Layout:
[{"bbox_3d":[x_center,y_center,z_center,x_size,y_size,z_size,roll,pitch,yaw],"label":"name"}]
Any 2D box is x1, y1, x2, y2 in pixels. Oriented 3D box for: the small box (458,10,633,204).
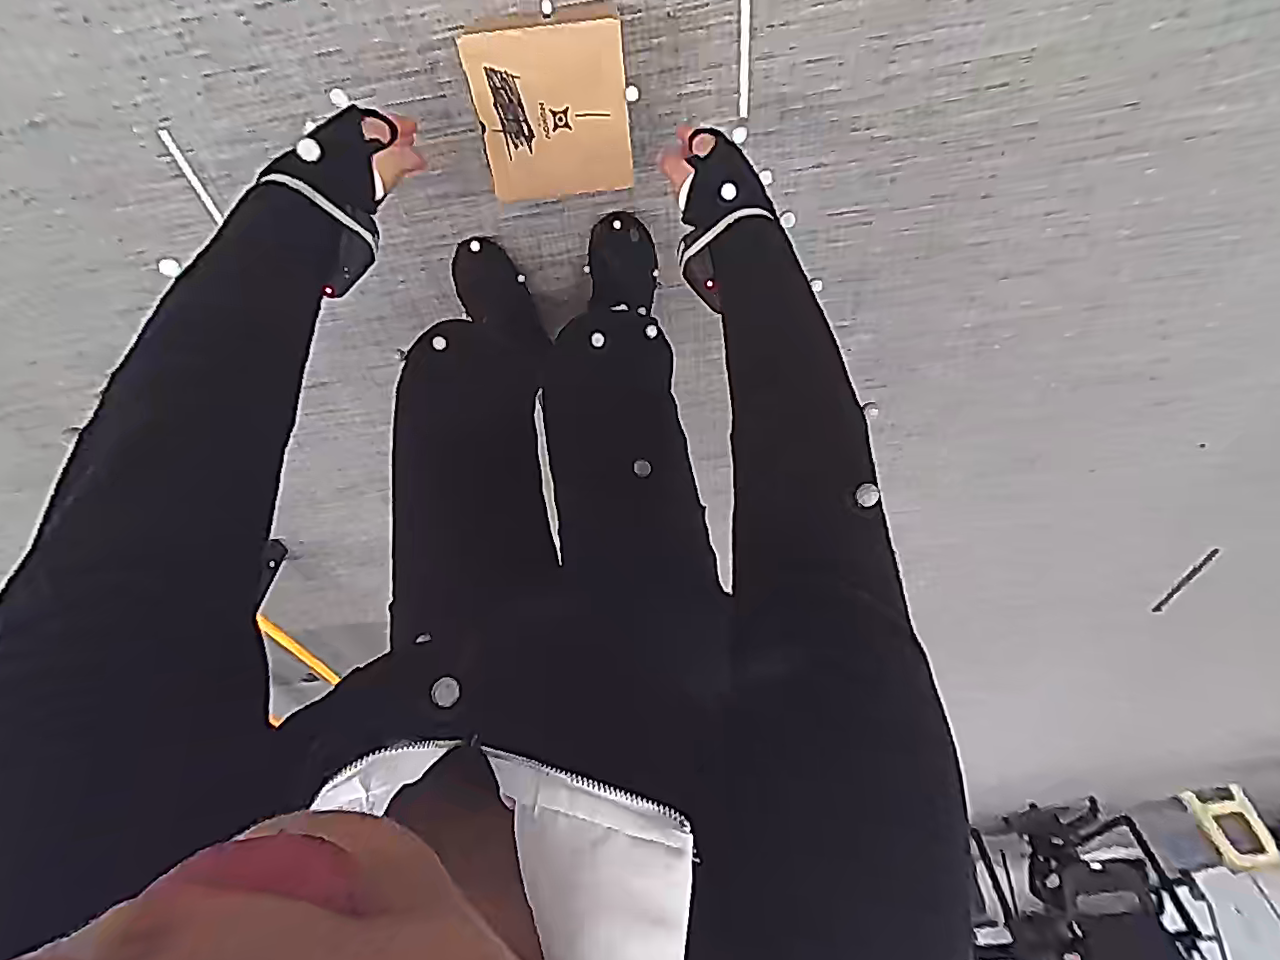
[{"bbox_3d":[-0.105,-0.466,0.676,0.179,0.176,0.168,-6,136,0],"label":"small box"}]
